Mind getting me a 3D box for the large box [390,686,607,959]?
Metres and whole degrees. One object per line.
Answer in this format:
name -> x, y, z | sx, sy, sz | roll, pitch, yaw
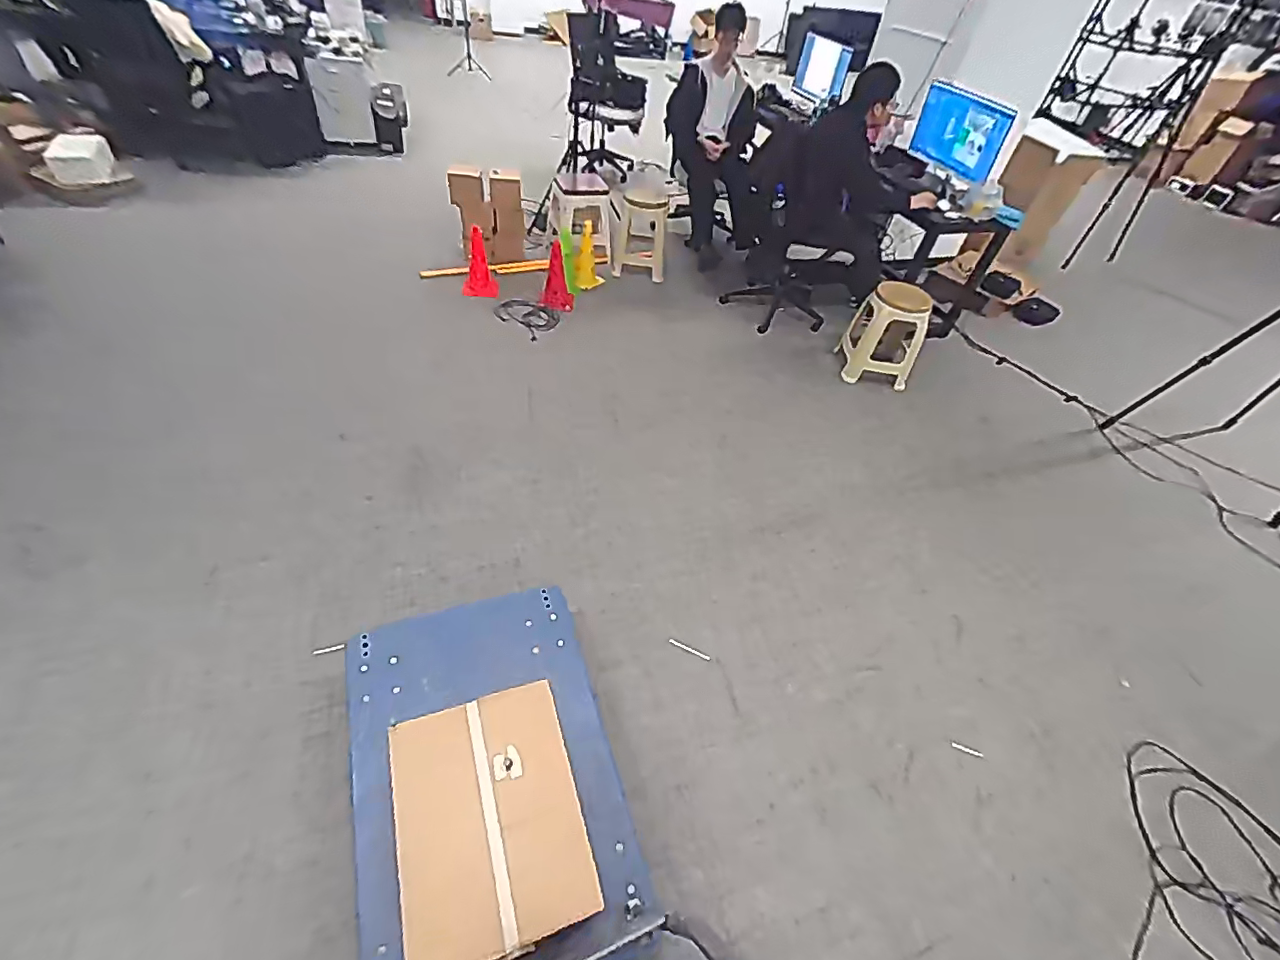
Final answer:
large box -> -0.280, 0.697, 1.071 | 0.320, 0.320, 0.408 | -11, 52, -19
